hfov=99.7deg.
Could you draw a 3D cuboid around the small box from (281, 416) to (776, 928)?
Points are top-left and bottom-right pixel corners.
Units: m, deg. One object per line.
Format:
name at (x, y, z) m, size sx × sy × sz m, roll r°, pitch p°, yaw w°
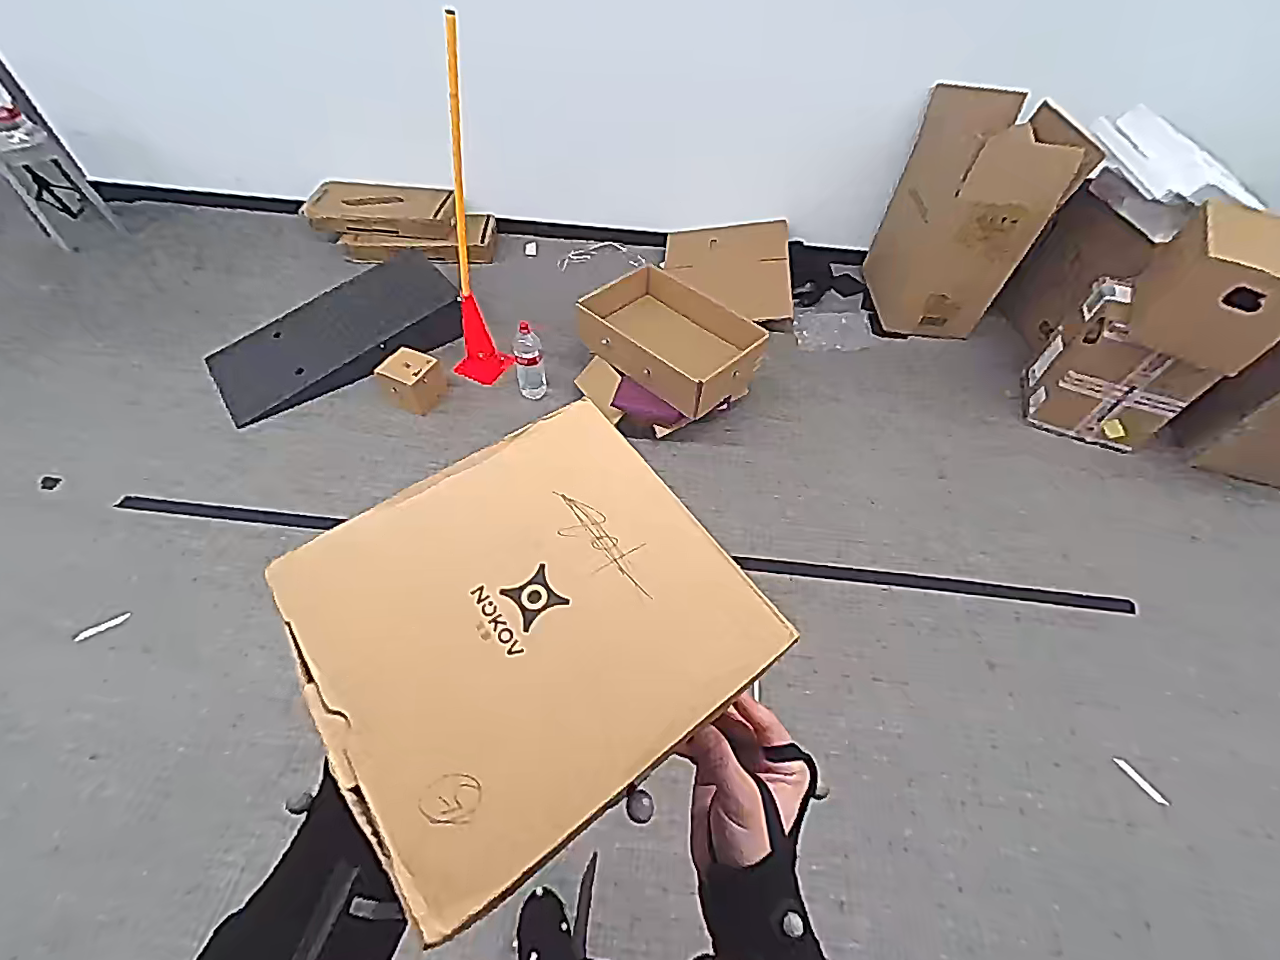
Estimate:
small box at (-0.055, 0.103, 0.316) m, size 0.179 × 0.176 × 0.168 m, roll -32°, pitch 65°, yaw -21°
